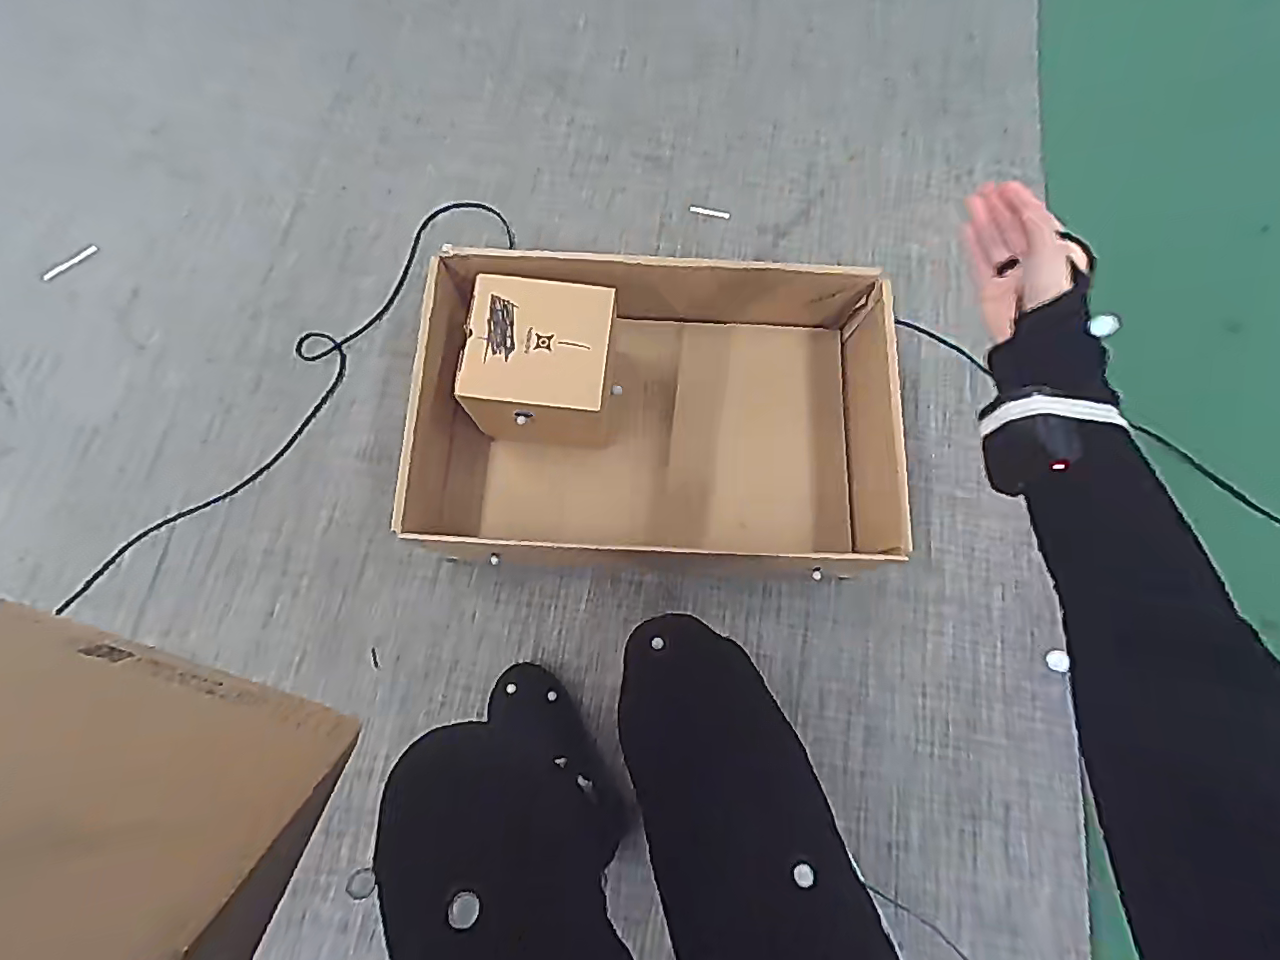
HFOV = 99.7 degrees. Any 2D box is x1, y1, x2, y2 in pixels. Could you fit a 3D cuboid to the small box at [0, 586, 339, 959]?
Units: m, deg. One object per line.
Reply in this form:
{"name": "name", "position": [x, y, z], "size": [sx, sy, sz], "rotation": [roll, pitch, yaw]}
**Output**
{"name": "small box", "position": [-0.216, 0.144, 0.146], "size": [0.168, 0.176, 0.179], "rotation": [25, 79, -10]}
